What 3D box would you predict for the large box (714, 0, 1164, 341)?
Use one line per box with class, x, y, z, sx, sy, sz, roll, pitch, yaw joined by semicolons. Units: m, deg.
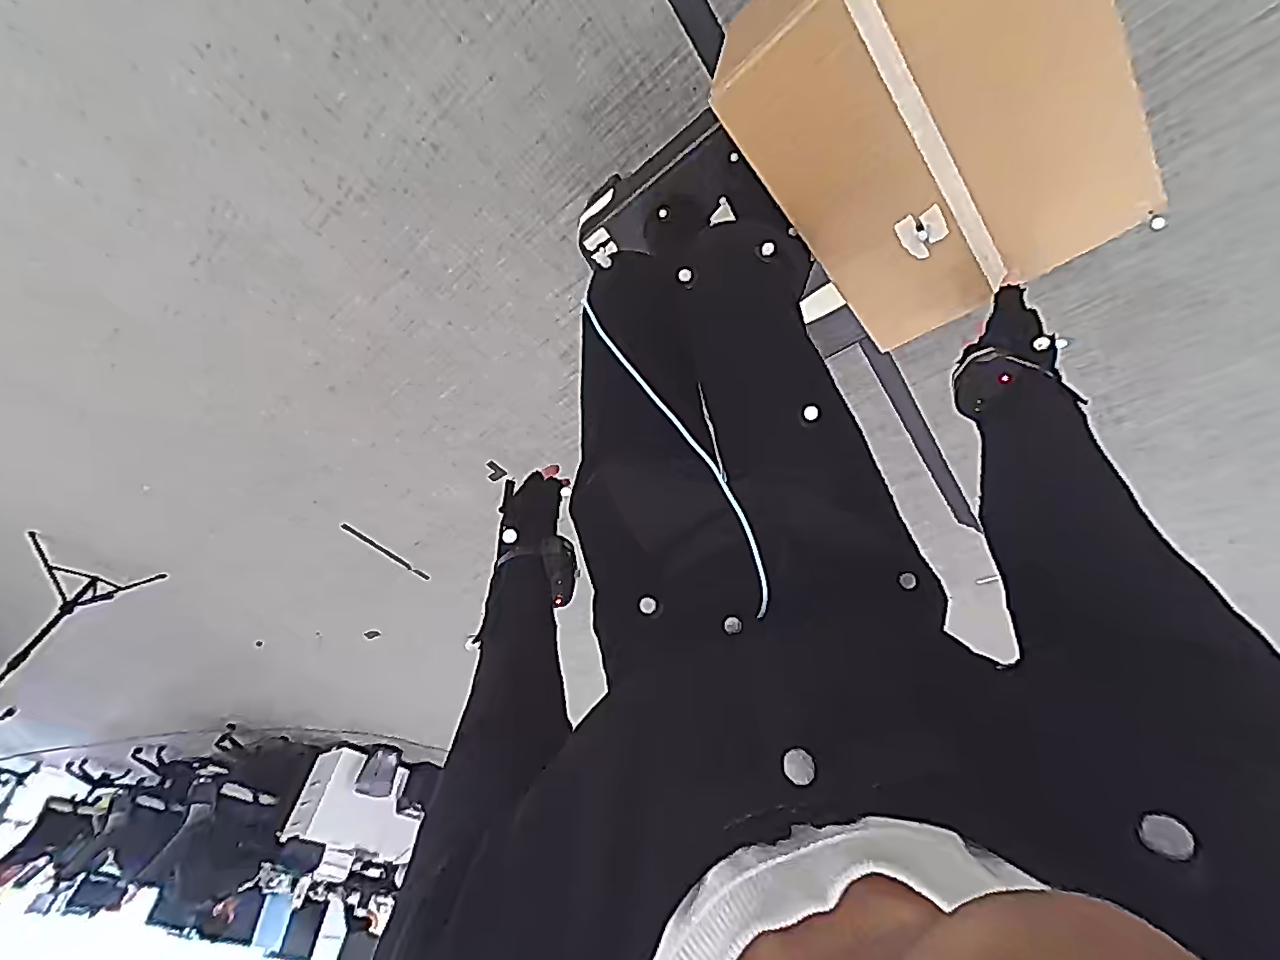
large box;0.340;-0.467;0.669;0.320;0.320;0.408;-26;129;38
